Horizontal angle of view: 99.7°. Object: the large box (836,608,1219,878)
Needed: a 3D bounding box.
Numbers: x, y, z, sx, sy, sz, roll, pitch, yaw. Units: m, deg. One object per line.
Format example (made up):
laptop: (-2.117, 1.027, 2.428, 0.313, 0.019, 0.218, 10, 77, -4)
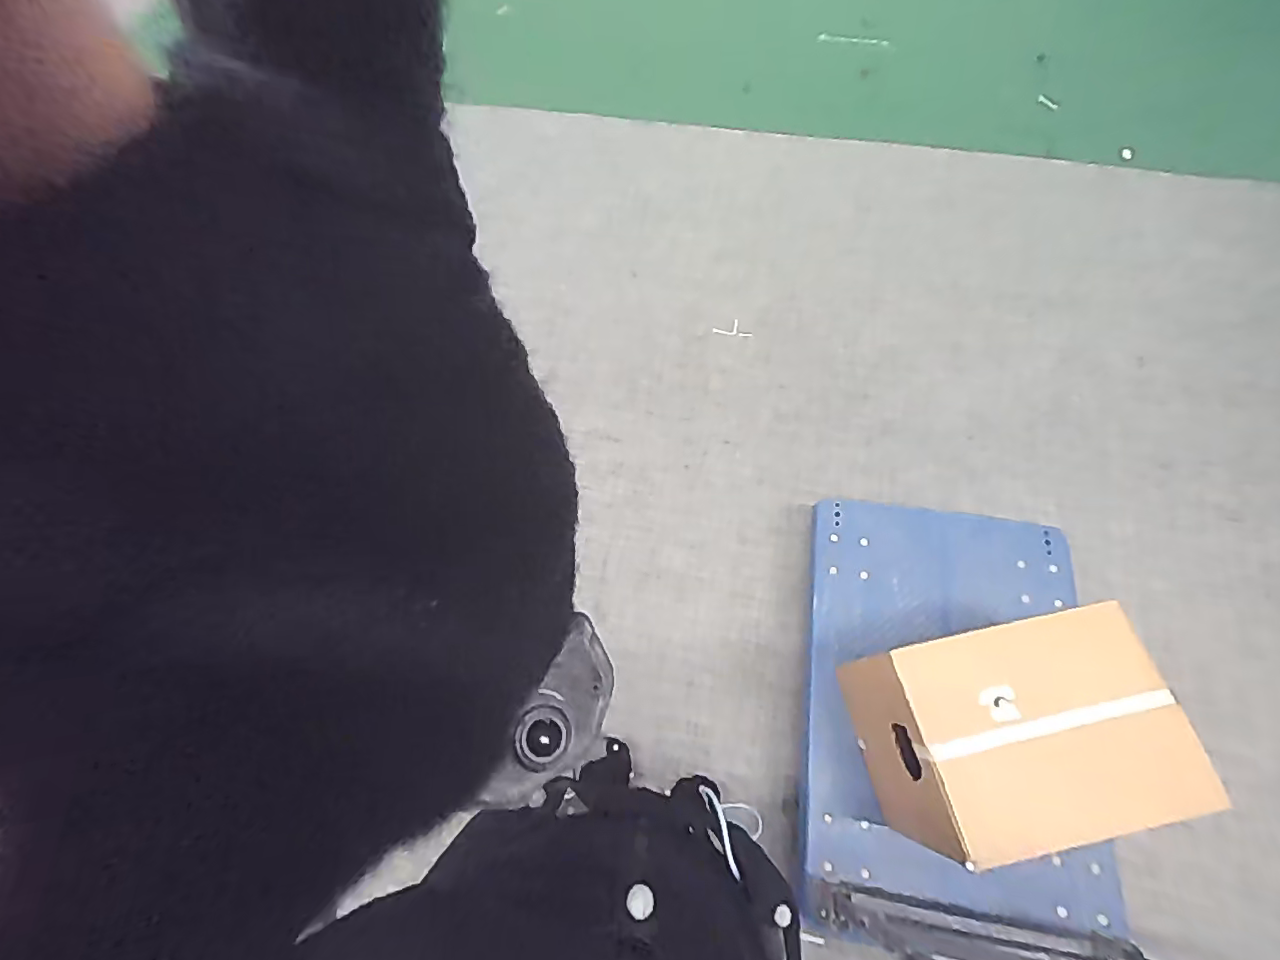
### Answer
large box: (0.634, 0.447, 0.975, 0.408, 0.320, 0.320, -12, 66, -2)
